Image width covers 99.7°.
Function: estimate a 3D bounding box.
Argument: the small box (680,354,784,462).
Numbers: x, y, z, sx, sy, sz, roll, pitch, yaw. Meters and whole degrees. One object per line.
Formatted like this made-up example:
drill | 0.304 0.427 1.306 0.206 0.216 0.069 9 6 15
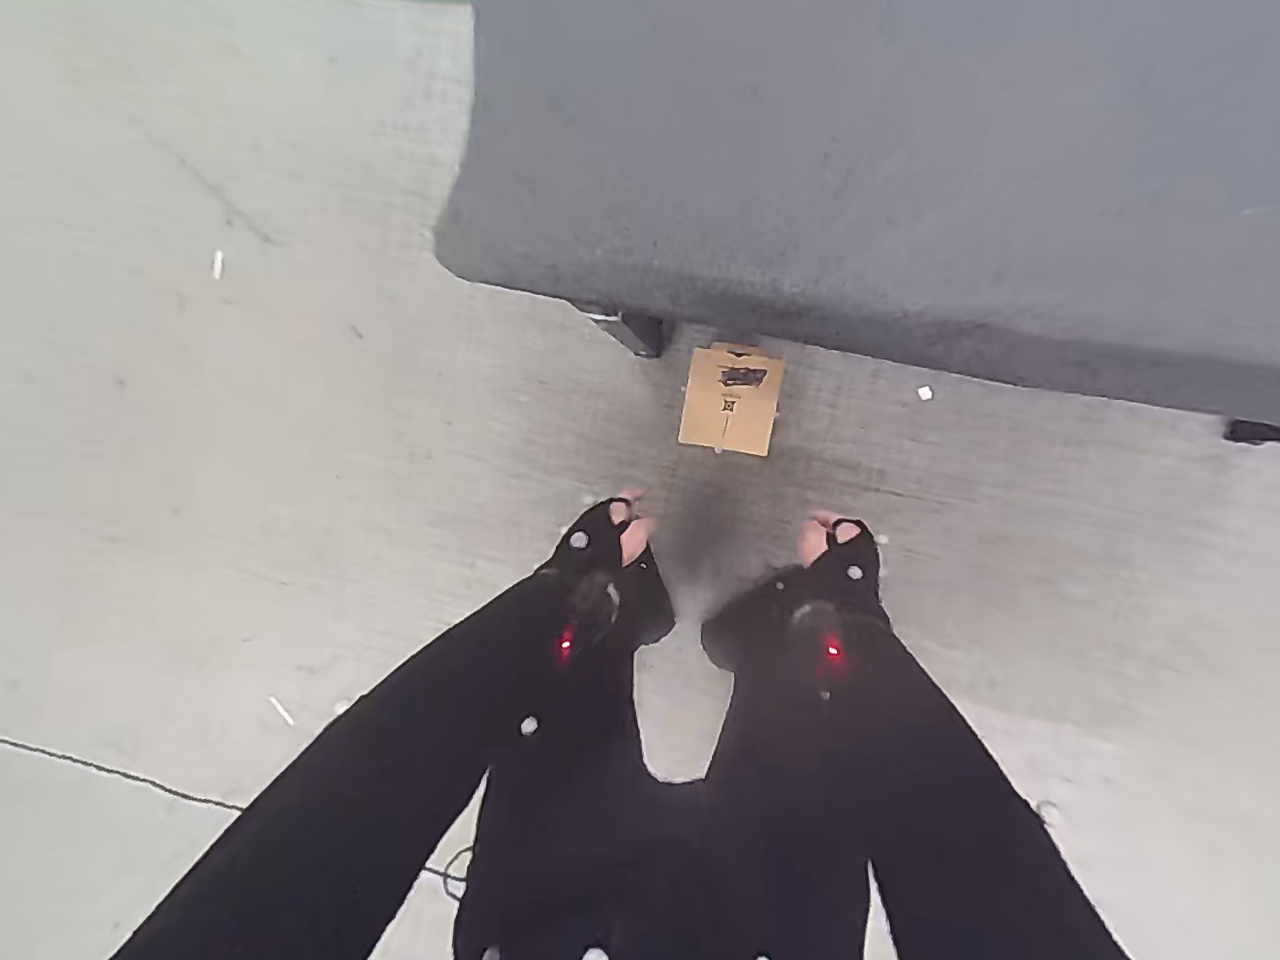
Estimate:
small box | 0.175 -0.138 1.049 0.168 0.176 0.179 9 98 8
